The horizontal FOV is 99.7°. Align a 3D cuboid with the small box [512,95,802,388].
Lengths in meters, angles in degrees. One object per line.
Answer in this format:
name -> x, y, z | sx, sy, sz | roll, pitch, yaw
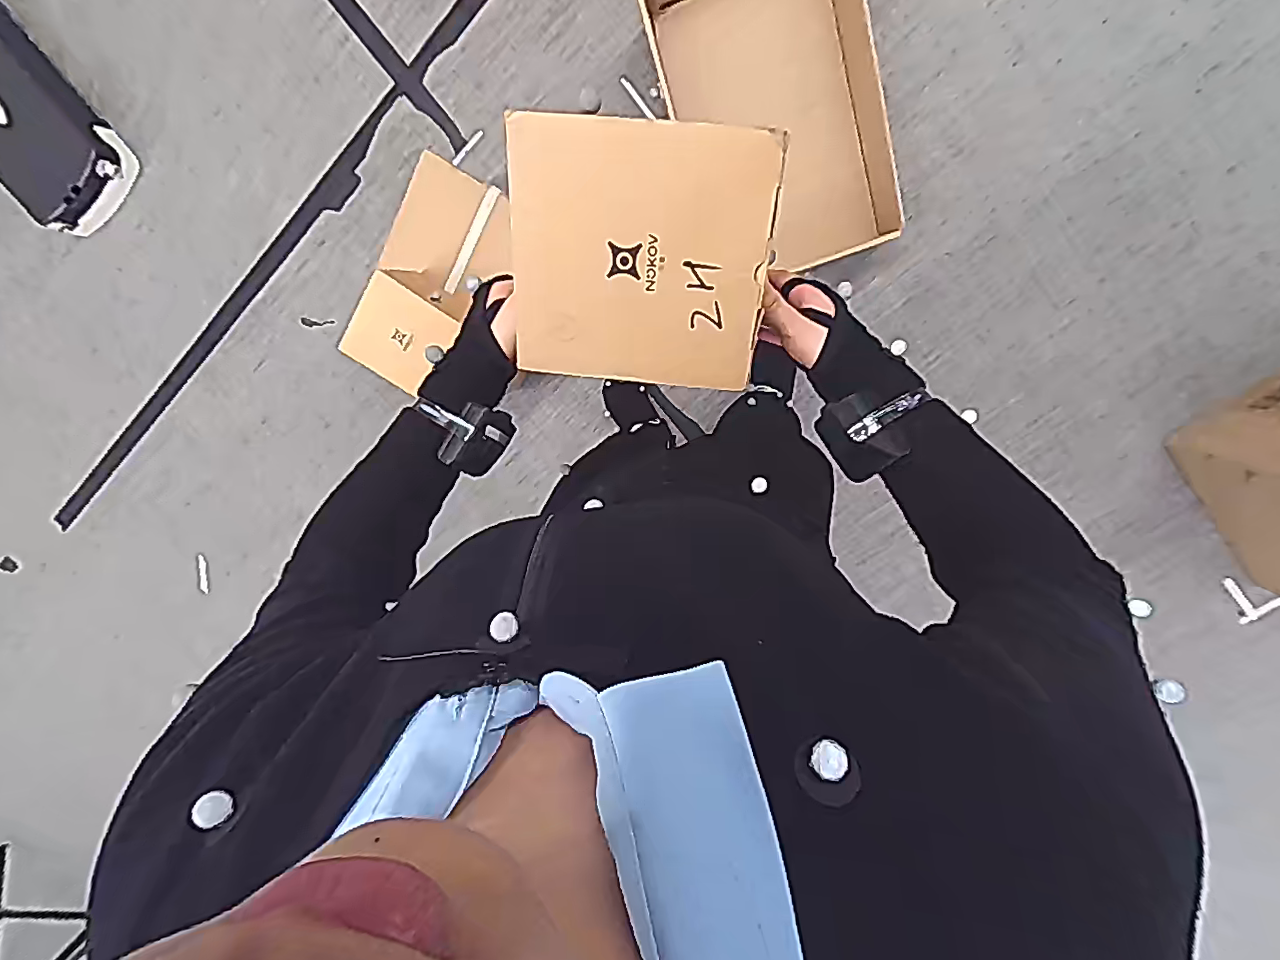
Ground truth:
small box -> 0.012, -0.186, 0.426 | 0.179, 0.176, 0.168 | 7, 120, 3
